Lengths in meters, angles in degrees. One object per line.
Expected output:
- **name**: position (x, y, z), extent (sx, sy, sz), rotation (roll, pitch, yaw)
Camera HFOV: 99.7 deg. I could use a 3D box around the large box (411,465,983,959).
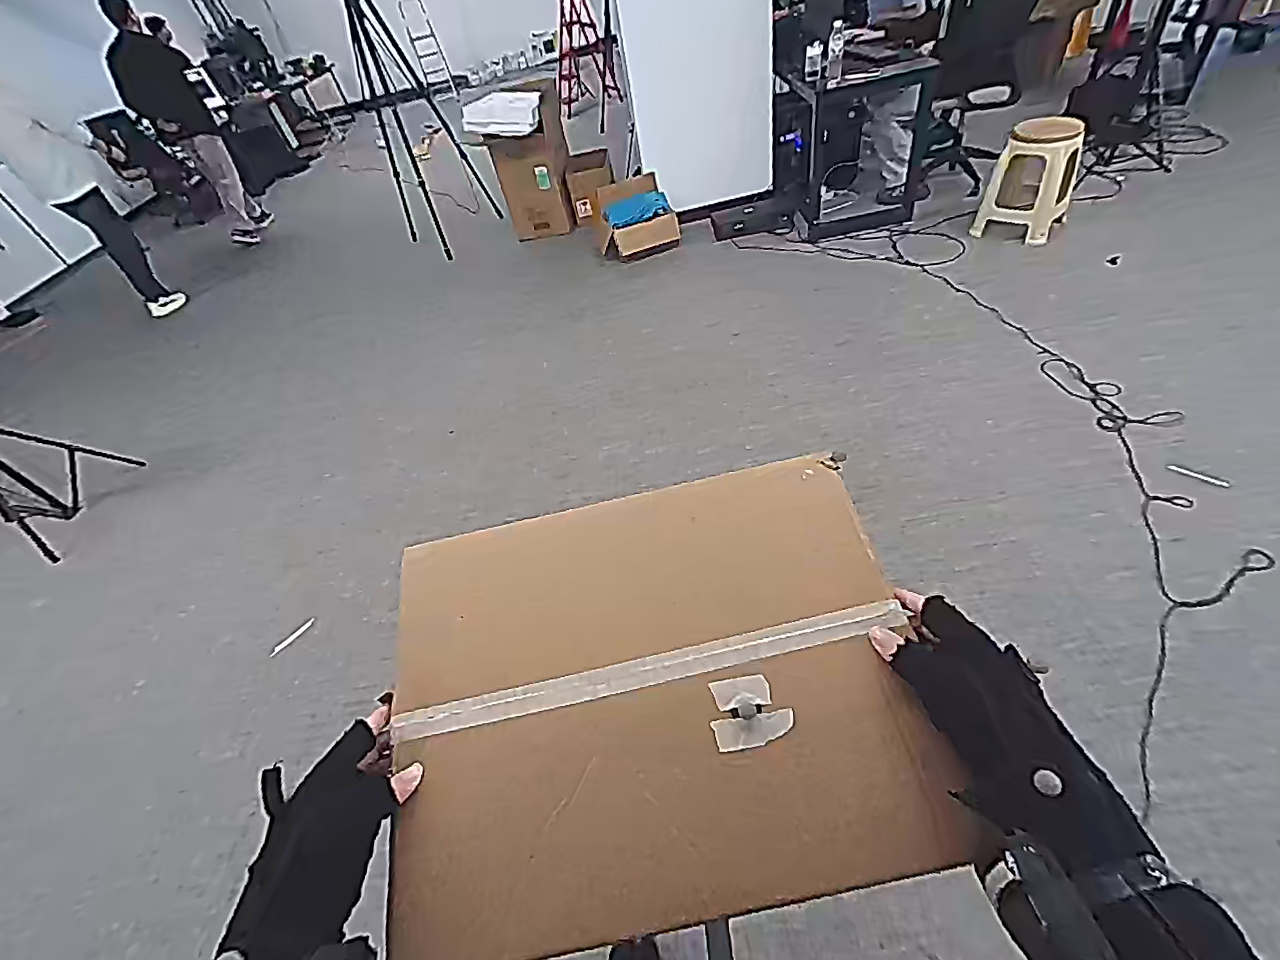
- **large box**: position (0.028, 0.233, 0.564), extent (0.408, 0.320, 0.320), rotation (-13, 59, 1)
